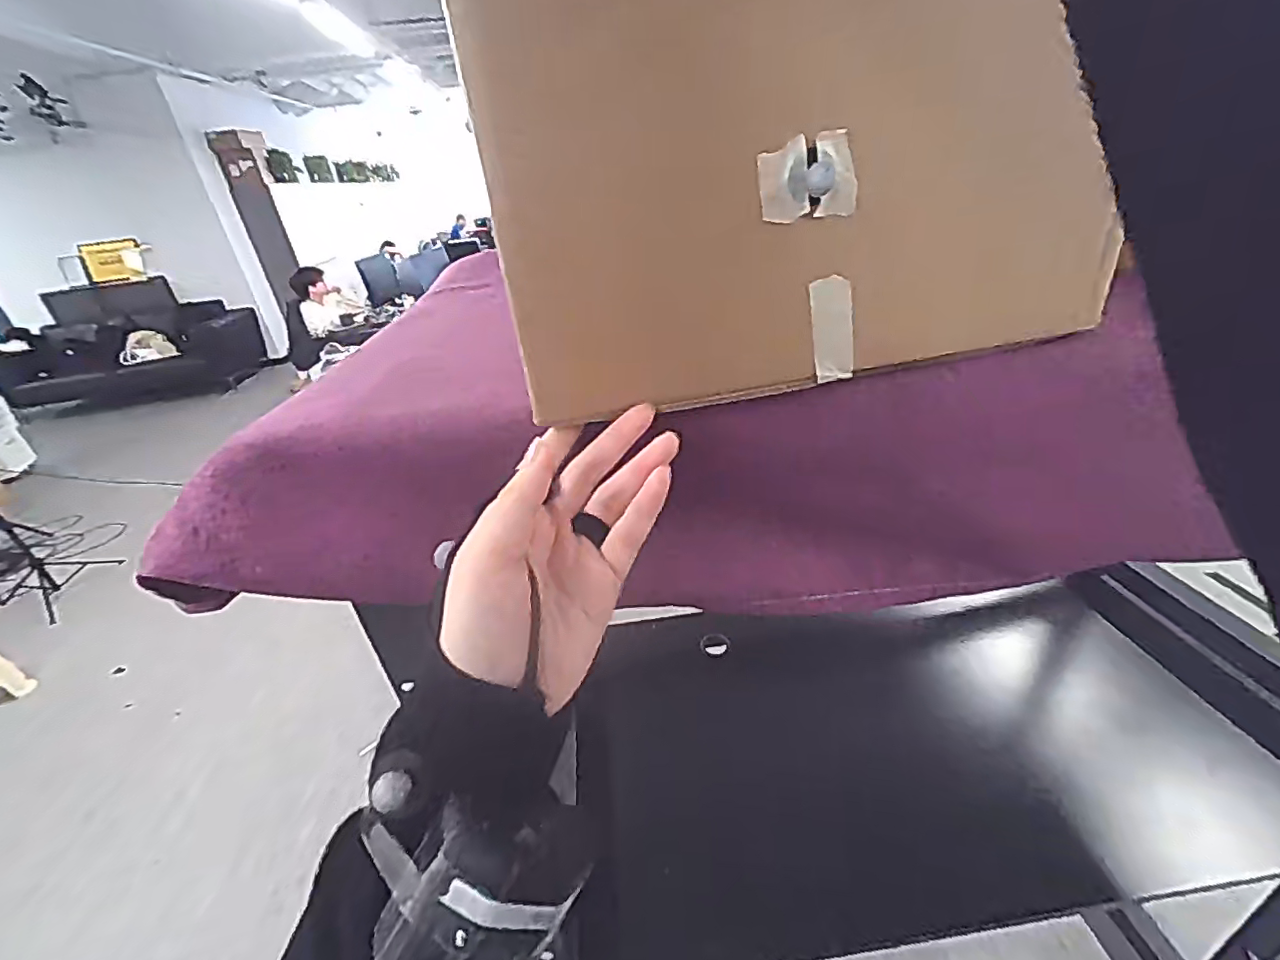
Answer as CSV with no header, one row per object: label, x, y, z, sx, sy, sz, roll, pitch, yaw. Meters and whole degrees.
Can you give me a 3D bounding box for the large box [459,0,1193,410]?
large box,0.049,-0.275,0.372,0.320,0.320,0.408,-10,28,-6
